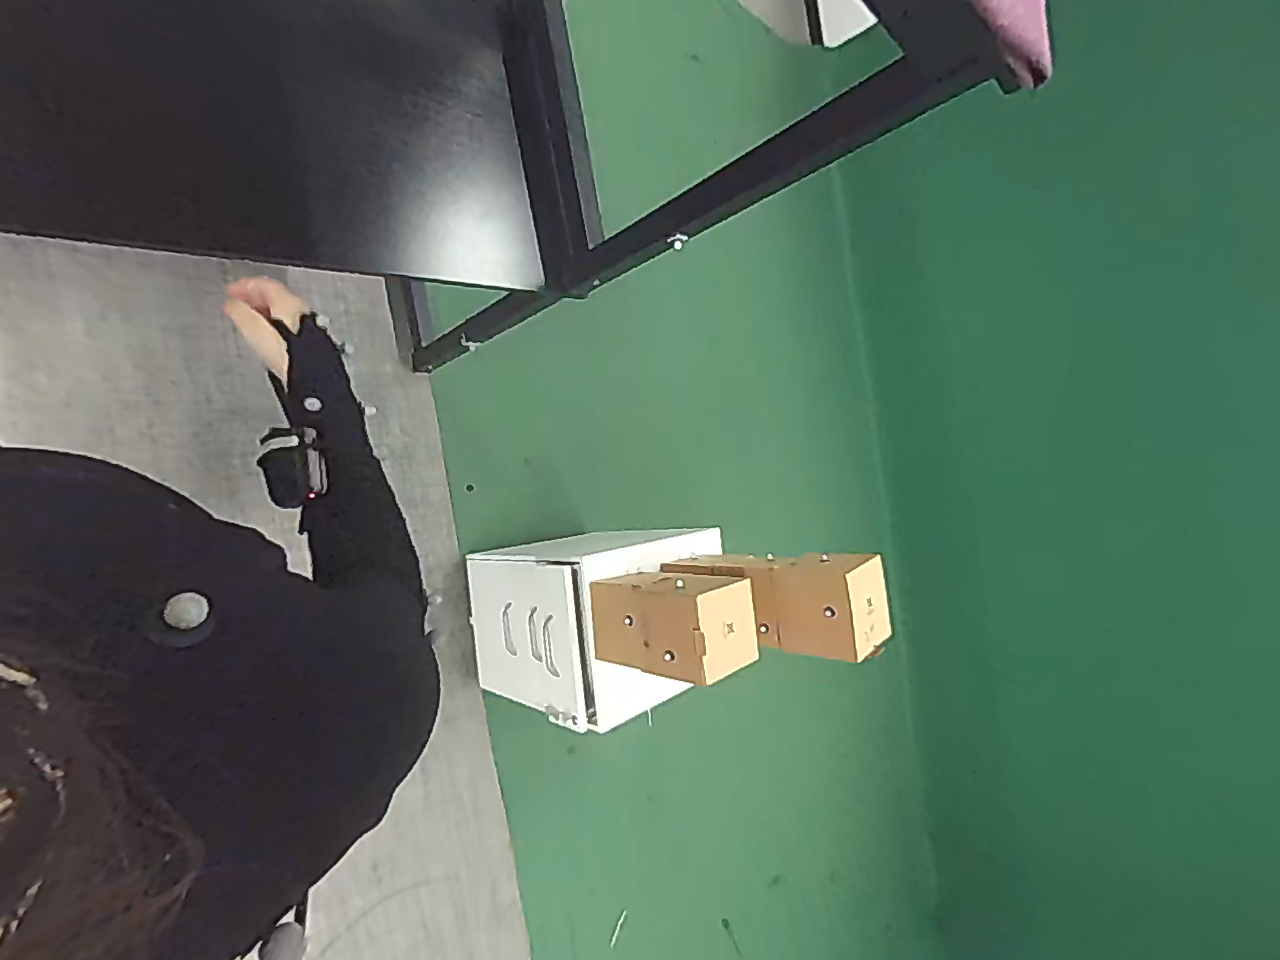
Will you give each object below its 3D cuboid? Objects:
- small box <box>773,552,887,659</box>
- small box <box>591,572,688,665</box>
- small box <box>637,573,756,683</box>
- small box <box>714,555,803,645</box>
[{"bbox_3d":[0.394,0.252,1.131,0.168,0.176,0.179,-11,94,-44],"label":"small box"},{"bbox_3d":[0.005,0.299,1.200,0.168,0.176,0.179,-2,87,-45],"label":"small box"},{"bbox_3d":[0.106,0.282,1.073,0.179,0.176,0.168,-6,91,-46],"label":"small box"},{"bbox_3d":[0.283,0.269,1.251,0.168,0.176,0.179,-1,87,-45],"label":"small box"}]
